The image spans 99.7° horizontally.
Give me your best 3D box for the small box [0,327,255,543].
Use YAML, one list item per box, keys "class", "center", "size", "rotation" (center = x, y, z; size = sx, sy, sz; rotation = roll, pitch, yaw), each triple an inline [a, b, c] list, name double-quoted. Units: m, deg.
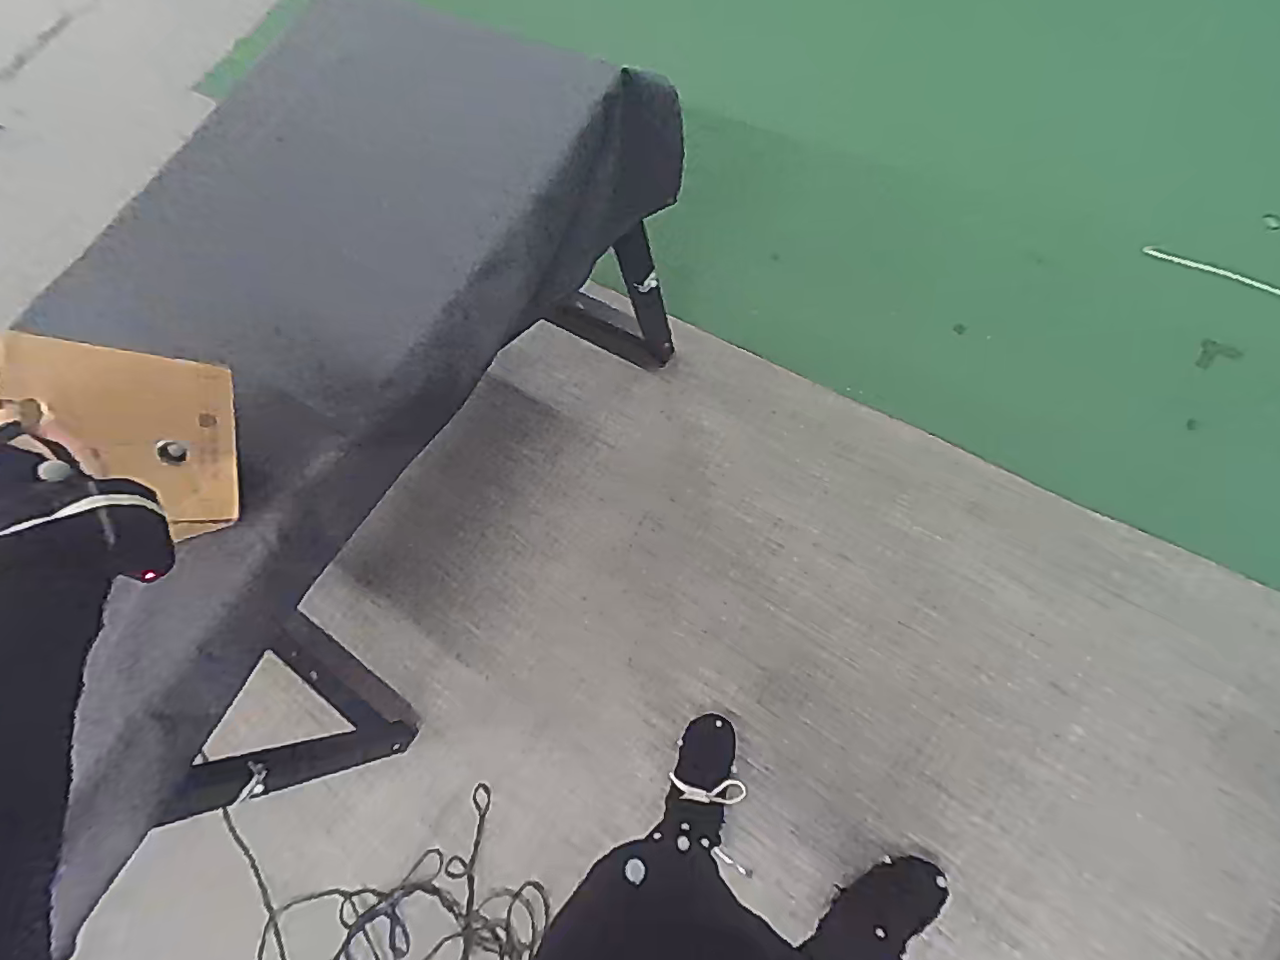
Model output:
- class: "small box"
  center: [-0.526, -0.026, 0.546]
  size: [0.179, 0.176, 0.168]
  rotation: [-11, 79, 31]
